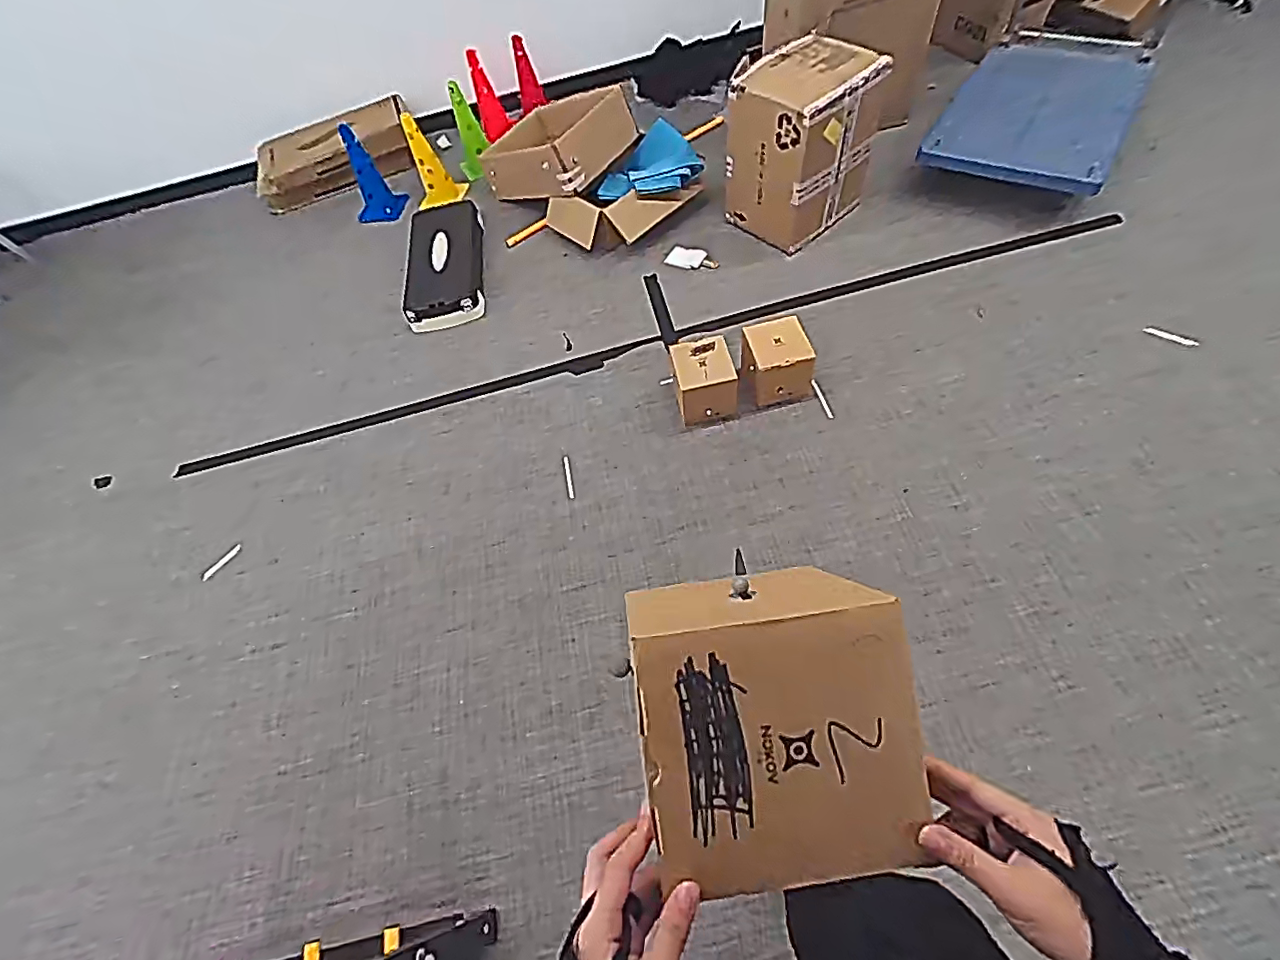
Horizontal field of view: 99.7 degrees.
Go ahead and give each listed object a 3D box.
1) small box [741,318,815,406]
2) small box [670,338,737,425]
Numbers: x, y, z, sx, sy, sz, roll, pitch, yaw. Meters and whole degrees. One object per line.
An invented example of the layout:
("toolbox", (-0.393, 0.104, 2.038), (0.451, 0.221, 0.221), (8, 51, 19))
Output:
("small box", (0.407, -0.353, 1.630), (0.168, 0.176, 0.179), (-14, 59, 0))
("small box", (0.188, -0.294, 1.625), (0.168, 0.176, 0.179), (-12, 59, 1))
